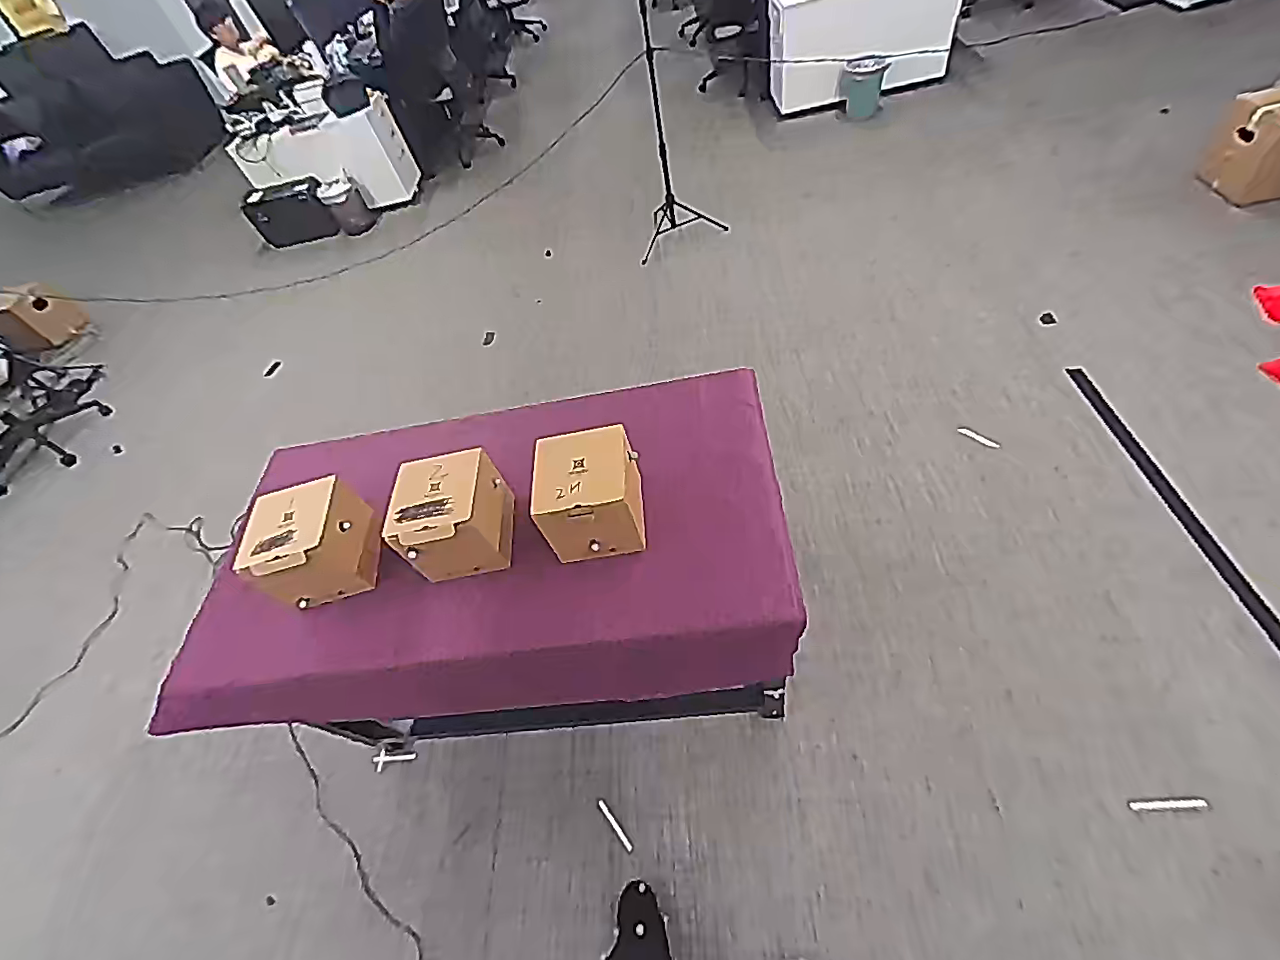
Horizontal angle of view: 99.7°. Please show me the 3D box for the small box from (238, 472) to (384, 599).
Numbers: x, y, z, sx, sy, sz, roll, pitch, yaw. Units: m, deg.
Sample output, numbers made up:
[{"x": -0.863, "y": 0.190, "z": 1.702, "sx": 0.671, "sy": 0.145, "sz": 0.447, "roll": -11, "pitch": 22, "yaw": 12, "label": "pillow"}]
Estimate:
[{"x": -0.631, "y": 0.118, "z": 1.063, "sx": 0.168, "sy": 0.176, "sz": 0.179, "roll": -15, "pitch": 51, "yaw": 2, "label": "small box"}]

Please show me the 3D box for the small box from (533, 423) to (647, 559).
[{"x": -0.085, "y": 0.023, "z": 0.998, "sx": 0.168, "sy": 0.176, "sz": 0.179, "roll": -9, "pitch": 52, "yaw": 8, "label": "small box"}]
